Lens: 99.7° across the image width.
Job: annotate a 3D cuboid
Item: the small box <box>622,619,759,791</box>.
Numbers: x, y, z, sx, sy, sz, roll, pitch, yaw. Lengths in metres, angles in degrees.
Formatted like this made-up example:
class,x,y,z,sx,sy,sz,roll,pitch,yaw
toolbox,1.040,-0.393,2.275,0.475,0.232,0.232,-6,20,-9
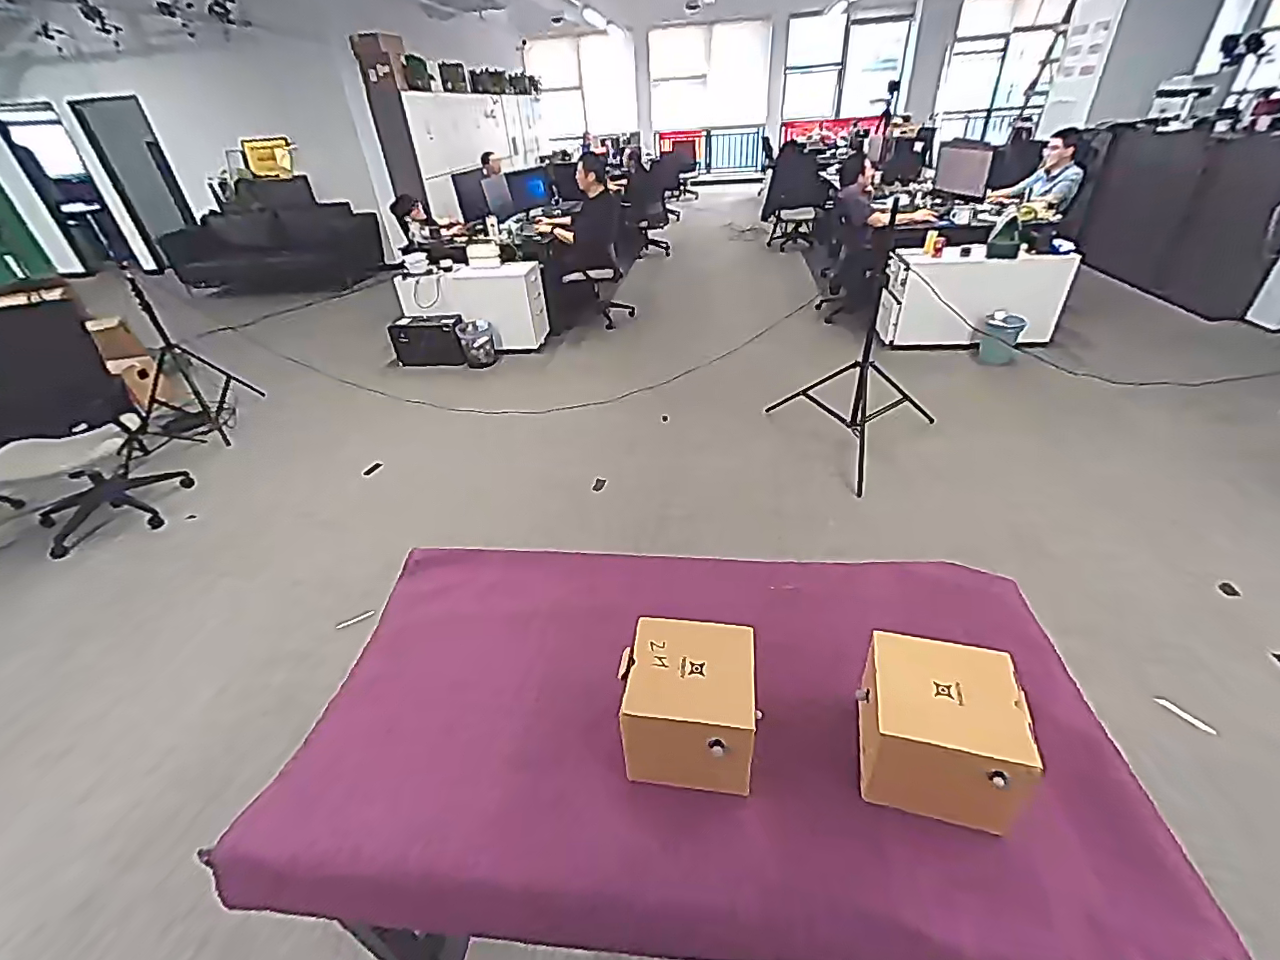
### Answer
class,x,y,z,sx,sy,sz,roll,pitch,yaw
small box,0.079,0.330,0.796,0.179,0.176,0.168,2,34,10

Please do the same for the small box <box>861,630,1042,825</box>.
class,x,y,z,sx,sy,sz,roll,pitch,yaw
small box,0.406,0.337,0.743,0.179,0.176,0.168,6,35,16
